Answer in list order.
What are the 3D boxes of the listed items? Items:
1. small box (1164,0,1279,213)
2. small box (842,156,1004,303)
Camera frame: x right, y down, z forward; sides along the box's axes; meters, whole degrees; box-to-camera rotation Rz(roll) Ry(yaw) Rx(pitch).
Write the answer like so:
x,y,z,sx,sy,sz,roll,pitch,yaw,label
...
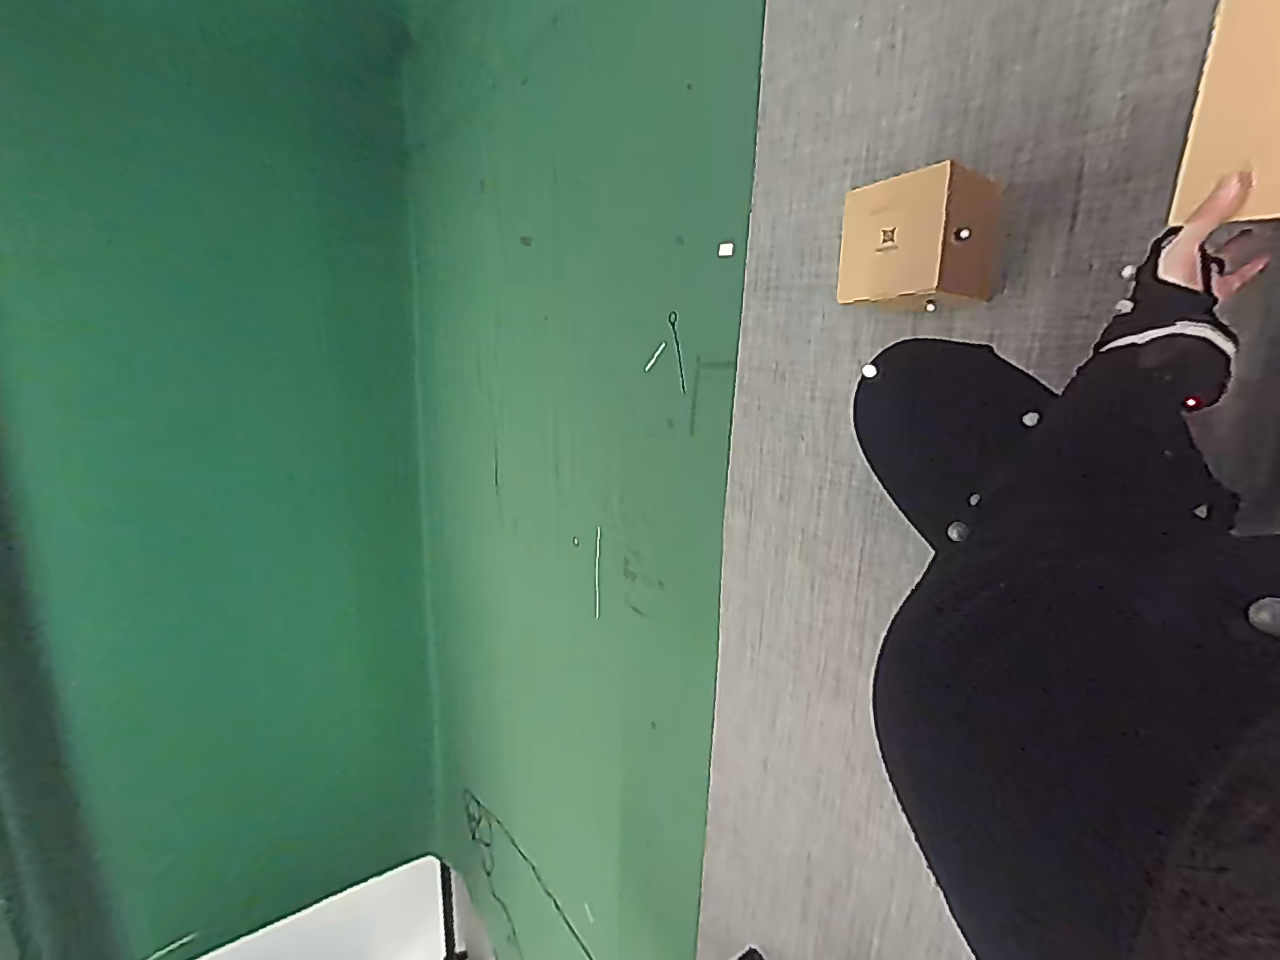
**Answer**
x,y,z,sx,sy,sz,roll,pitch,yaw,label
0.556,-0.302,0.404,0.179,0.176,0.168,25,128,52,small box
0.450,-0.383,0.866,0.168,0.176,0.179,16,108,53,small box
